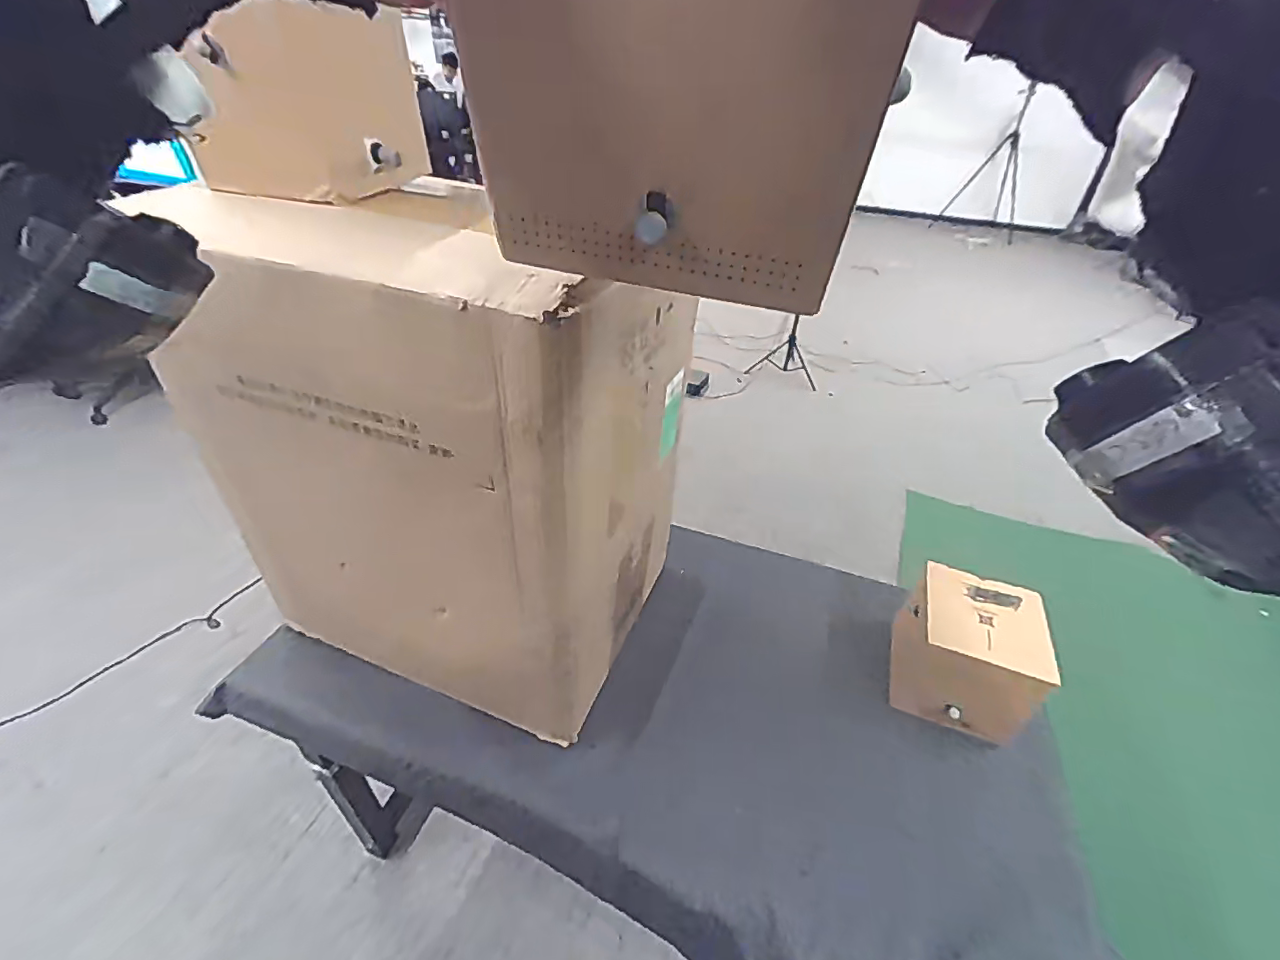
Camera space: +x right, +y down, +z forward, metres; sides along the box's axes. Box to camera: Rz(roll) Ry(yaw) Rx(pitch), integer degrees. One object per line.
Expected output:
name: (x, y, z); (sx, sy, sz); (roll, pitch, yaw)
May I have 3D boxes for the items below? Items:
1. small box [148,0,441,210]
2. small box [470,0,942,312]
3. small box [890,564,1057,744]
small box: (-0.347, -0.406, 0.584); (0.179, 0.176, 0.168); (13, 43, 11)
small box: (0.036, -0.209, 0.274); (0.179, 0.176, 0.168); (13, 54, 8)
small box: (0.505, 0.268, 0.847); (0.168, 0.176, 0.179); (16, 39, 16)
